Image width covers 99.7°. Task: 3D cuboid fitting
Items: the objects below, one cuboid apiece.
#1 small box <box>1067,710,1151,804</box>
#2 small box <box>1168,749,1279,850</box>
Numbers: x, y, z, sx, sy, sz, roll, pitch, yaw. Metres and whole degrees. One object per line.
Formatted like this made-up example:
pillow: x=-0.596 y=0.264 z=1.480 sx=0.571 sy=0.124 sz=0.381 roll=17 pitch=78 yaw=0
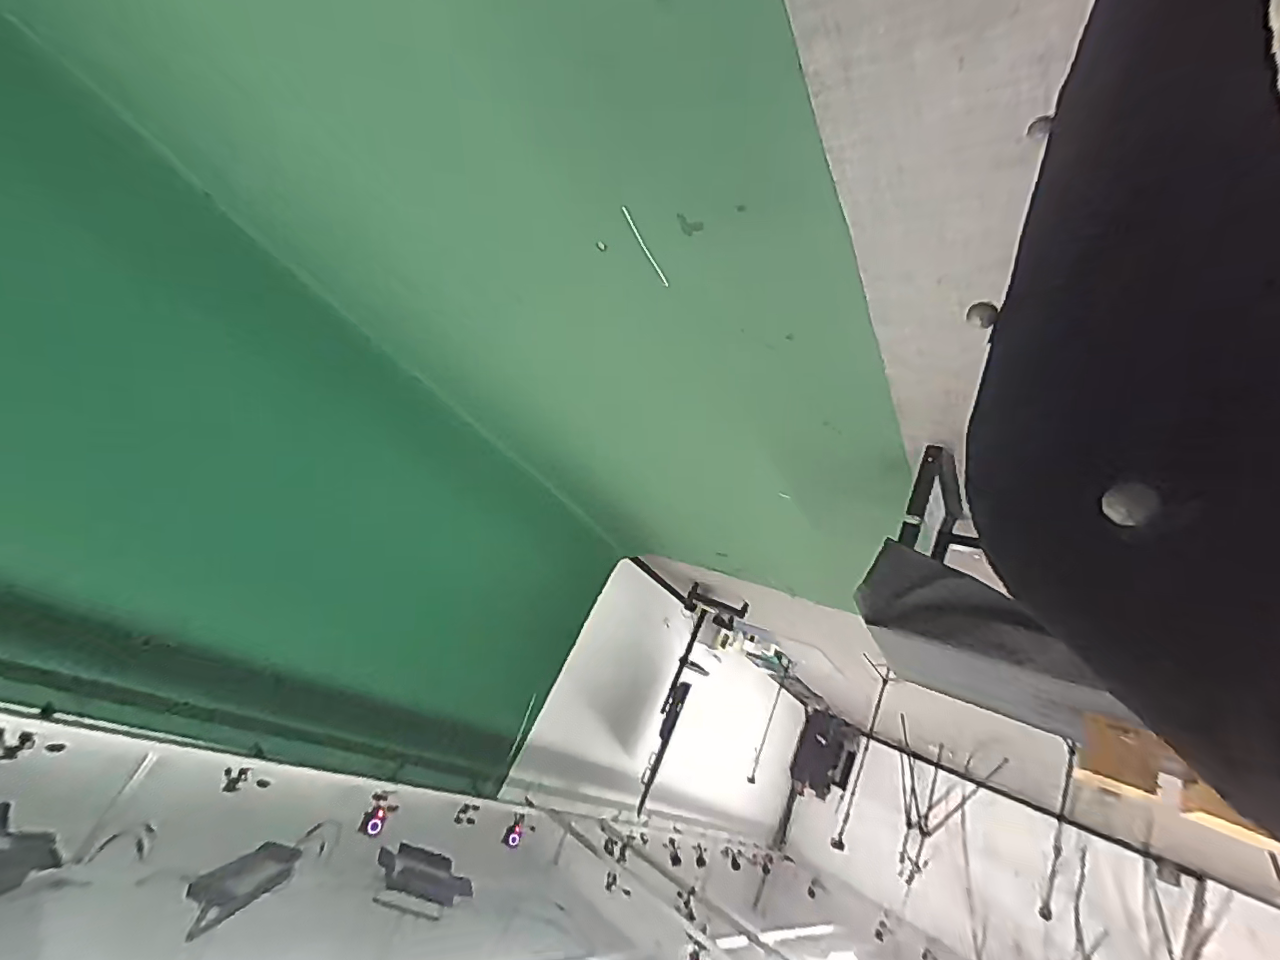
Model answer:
small box: x=1.316 y=0.774 z=1.519 sx=0.168 sy=0.176 sz=0.179 roll=5 pitch=150 yaw=42
small box: x=1.480 y=0.794 z=1.358 sx=0.179 sy=0.176 sz=0.168 roll=13 pitch=156 yaw=32
